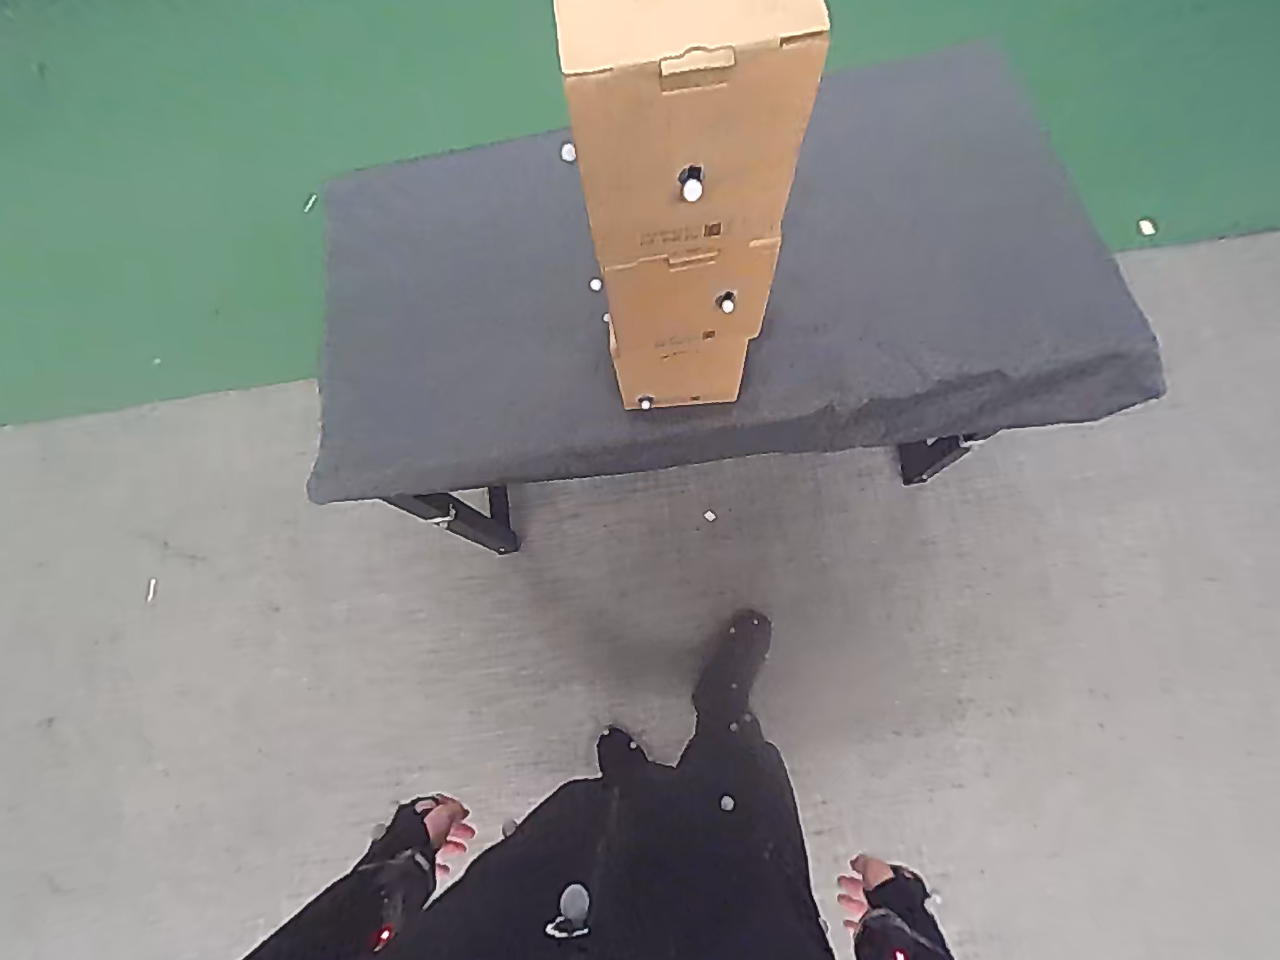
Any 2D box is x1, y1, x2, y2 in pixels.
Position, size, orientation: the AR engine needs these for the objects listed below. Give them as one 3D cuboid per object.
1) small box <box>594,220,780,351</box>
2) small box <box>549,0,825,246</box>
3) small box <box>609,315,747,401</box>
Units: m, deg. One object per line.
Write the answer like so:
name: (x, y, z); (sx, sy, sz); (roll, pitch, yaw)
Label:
small box: (0.038, -0.255, 0.576); (0.168, 0.176, 0.179); (-10, 72, 0)
small box: (0.027, -0.306, 0.421); (0.168, 0.176, 0.179); (-8, 74, 1)
small box: (0.050, -0.216, 0.733); (0.168, 0.176, 0.179); (-4, 72, 4)
